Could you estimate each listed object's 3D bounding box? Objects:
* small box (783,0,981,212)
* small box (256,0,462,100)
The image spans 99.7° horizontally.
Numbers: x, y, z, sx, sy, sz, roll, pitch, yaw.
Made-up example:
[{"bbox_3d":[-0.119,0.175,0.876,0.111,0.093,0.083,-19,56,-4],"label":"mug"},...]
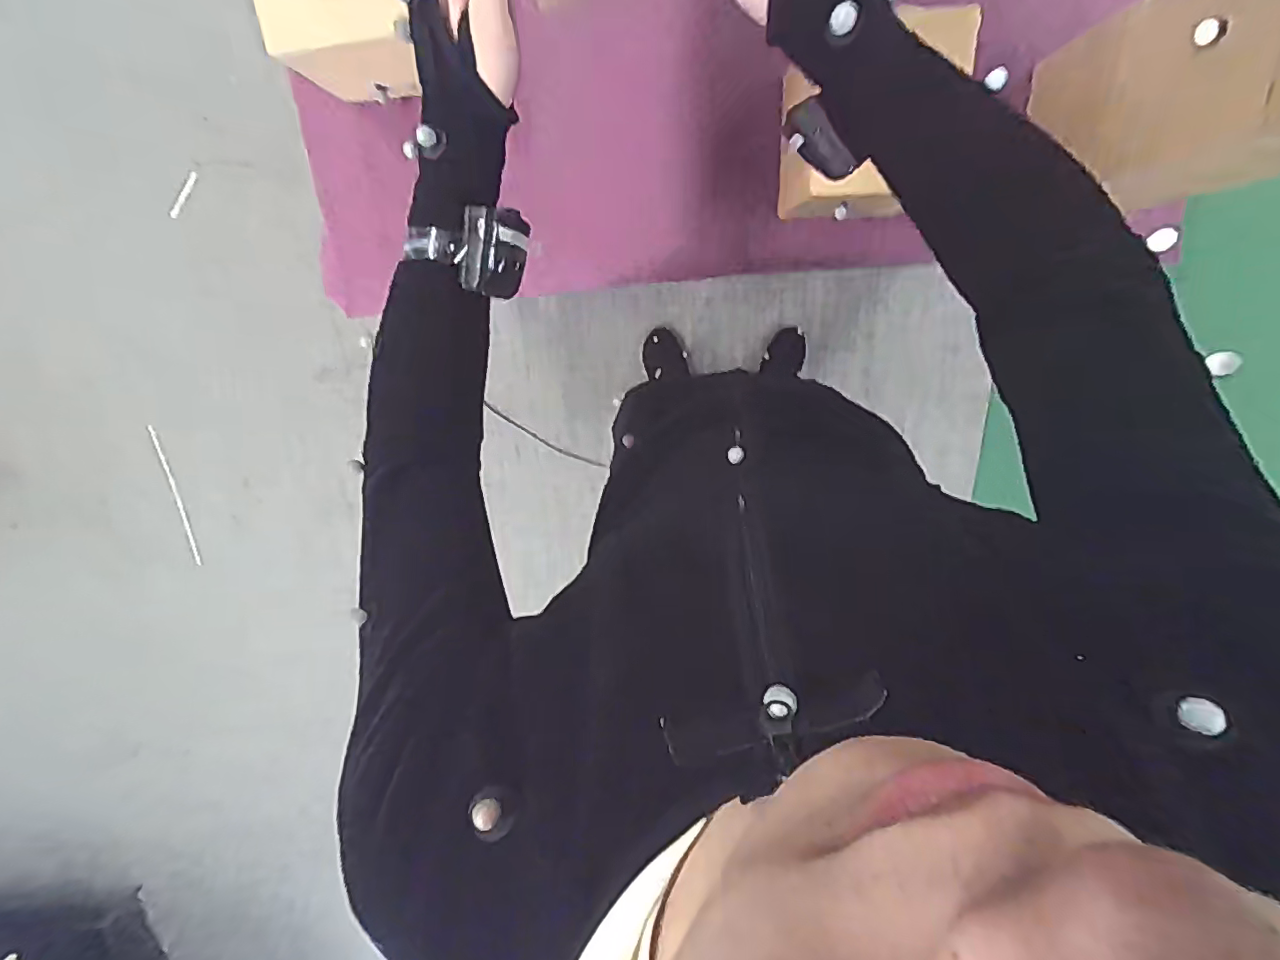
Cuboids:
[{"bbox_3d":[0.275,-0.434,0.660,0.168,0.176,0.179,0,107,3],"label":"small box"},{"bbox_3d":[-0.329,-0.583,0.633,0.168,0.176,0.179,-5,109,4],"label":"small box"}]
